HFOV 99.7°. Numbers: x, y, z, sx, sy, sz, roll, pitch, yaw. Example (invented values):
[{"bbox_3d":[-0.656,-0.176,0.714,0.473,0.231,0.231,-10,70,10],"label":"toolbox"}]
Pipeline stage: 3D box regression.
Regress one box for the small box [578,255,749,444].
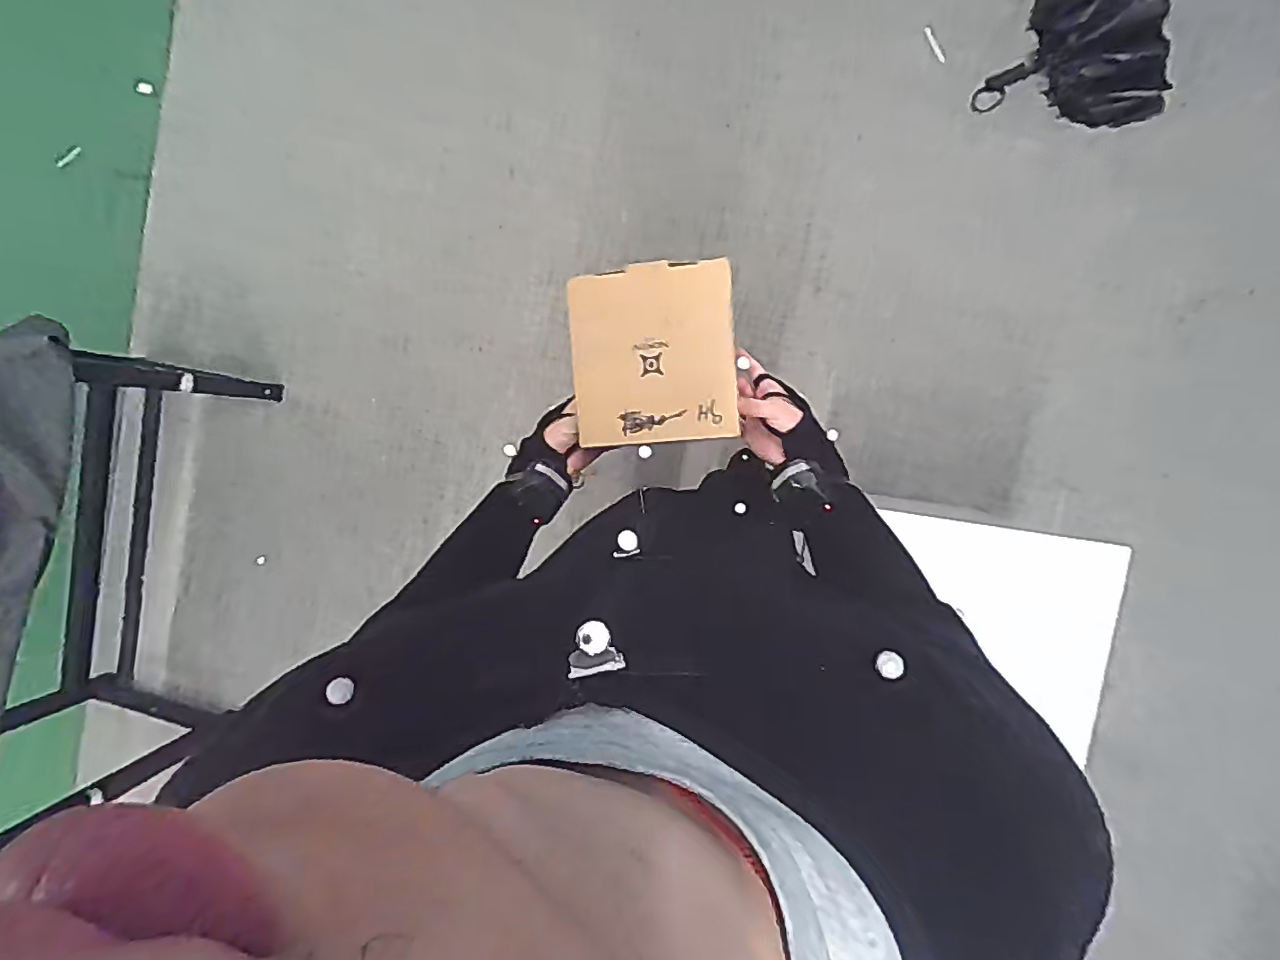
[{"bbox_3d":[0.033,-0.133,0.617,0.168,0.176,0.179,-4,94,10],"label":"small box"}]
